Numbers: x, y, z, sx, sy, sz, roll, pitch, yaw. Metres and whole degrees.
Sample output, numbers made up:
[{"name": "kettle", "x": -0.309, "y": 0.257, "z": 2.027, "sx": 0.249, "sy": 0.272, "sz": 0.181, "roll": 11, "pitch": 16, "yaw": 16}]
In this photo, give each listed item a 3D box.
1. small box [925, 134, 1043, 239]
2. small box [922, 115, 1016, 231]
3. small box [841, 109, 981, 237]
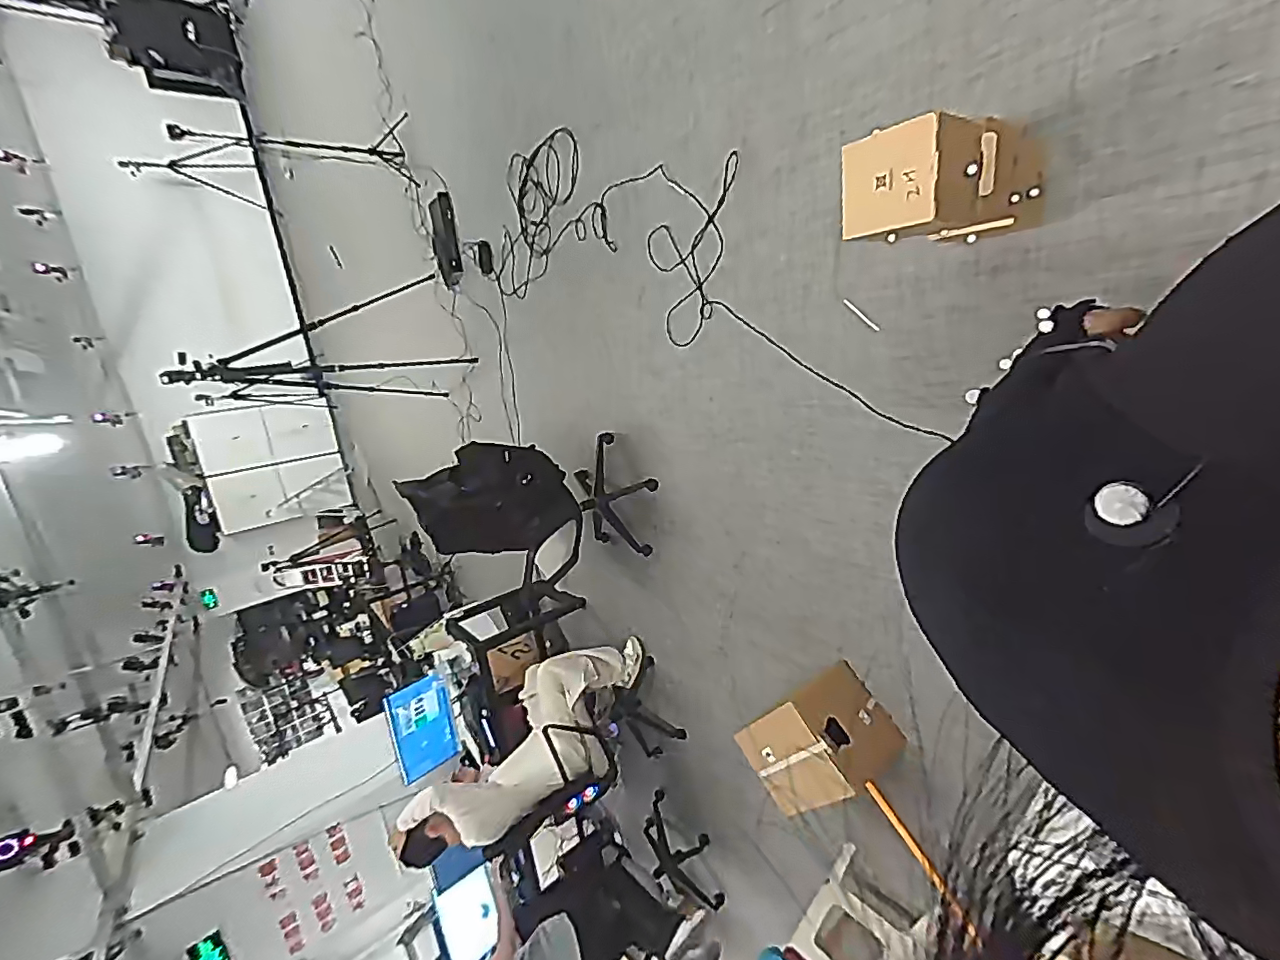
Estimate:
[{"name": "small box", "x": 0.756, "y": -0.635, "z": 1.188, "sx": 0.179, "sy": 0.176, "sz": 0.168, "roll": 13, "pitch": 114, "yaw": 51}, {"name": "small box", "x": 0.627, "y": -0.606, "z": 1.089, "sx": 0.179, "sy": 0.176, "sz": 0.168, "roll": 14, "pitch": 115, "yaw": 51}, {"name": "small box", "x": 0.497, "y": -0.553, "z": 1.002, "sx": 0.179, "sy": 0.176, "sz": 0.168, "roll": 13, "pitch": 115, "yaw": 51}]
